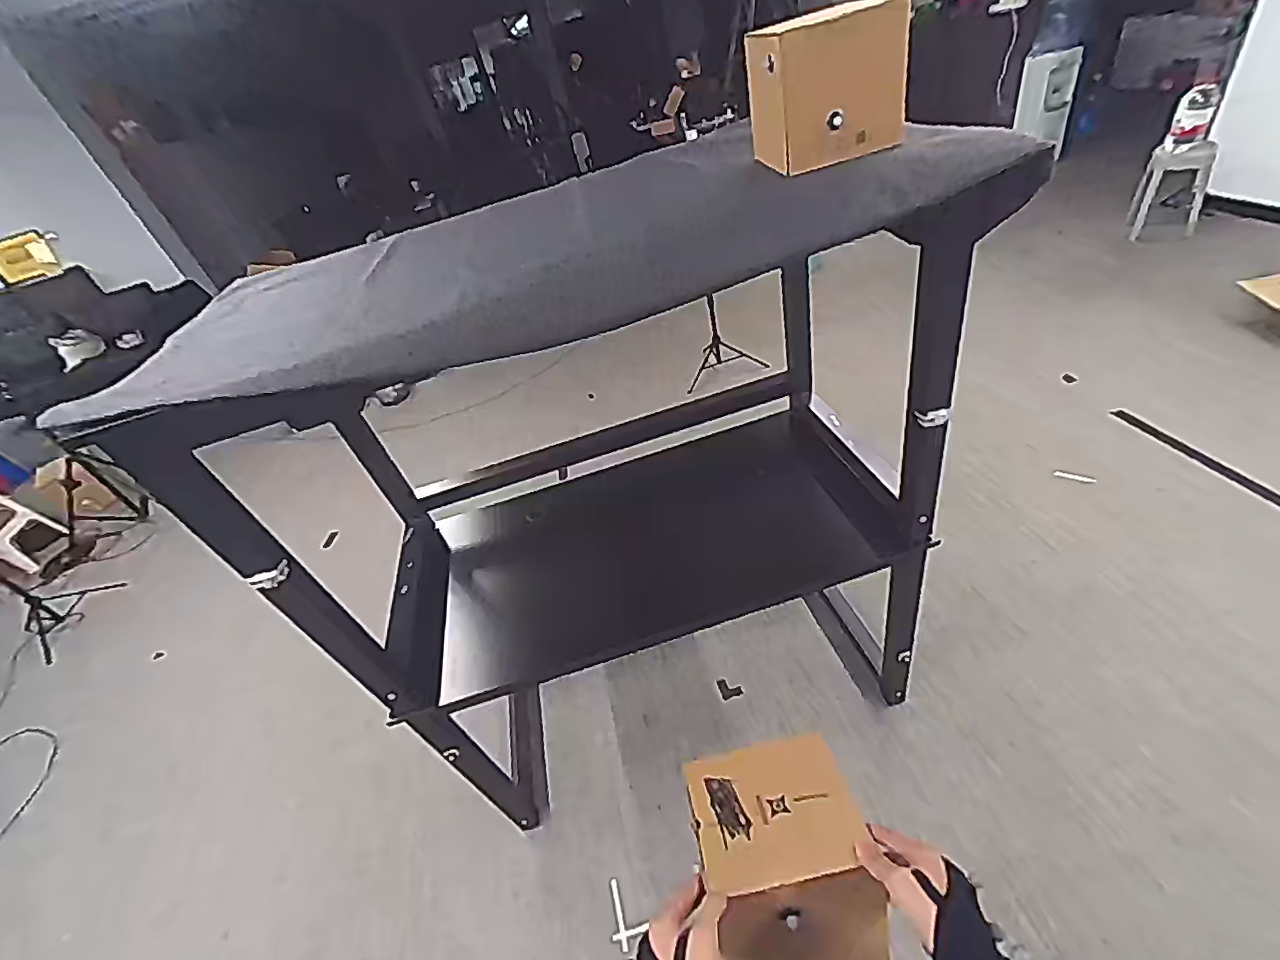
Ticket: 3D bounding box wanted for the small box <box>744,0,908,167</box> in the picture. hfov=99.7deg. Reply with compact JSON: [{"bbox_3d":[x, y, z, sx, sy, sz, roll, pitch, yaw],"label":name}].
[{"bbox_3d":[0.256,-0.569,0.774,0.168,0.176,0.179,-15,39,3],"label":"small box"}]
